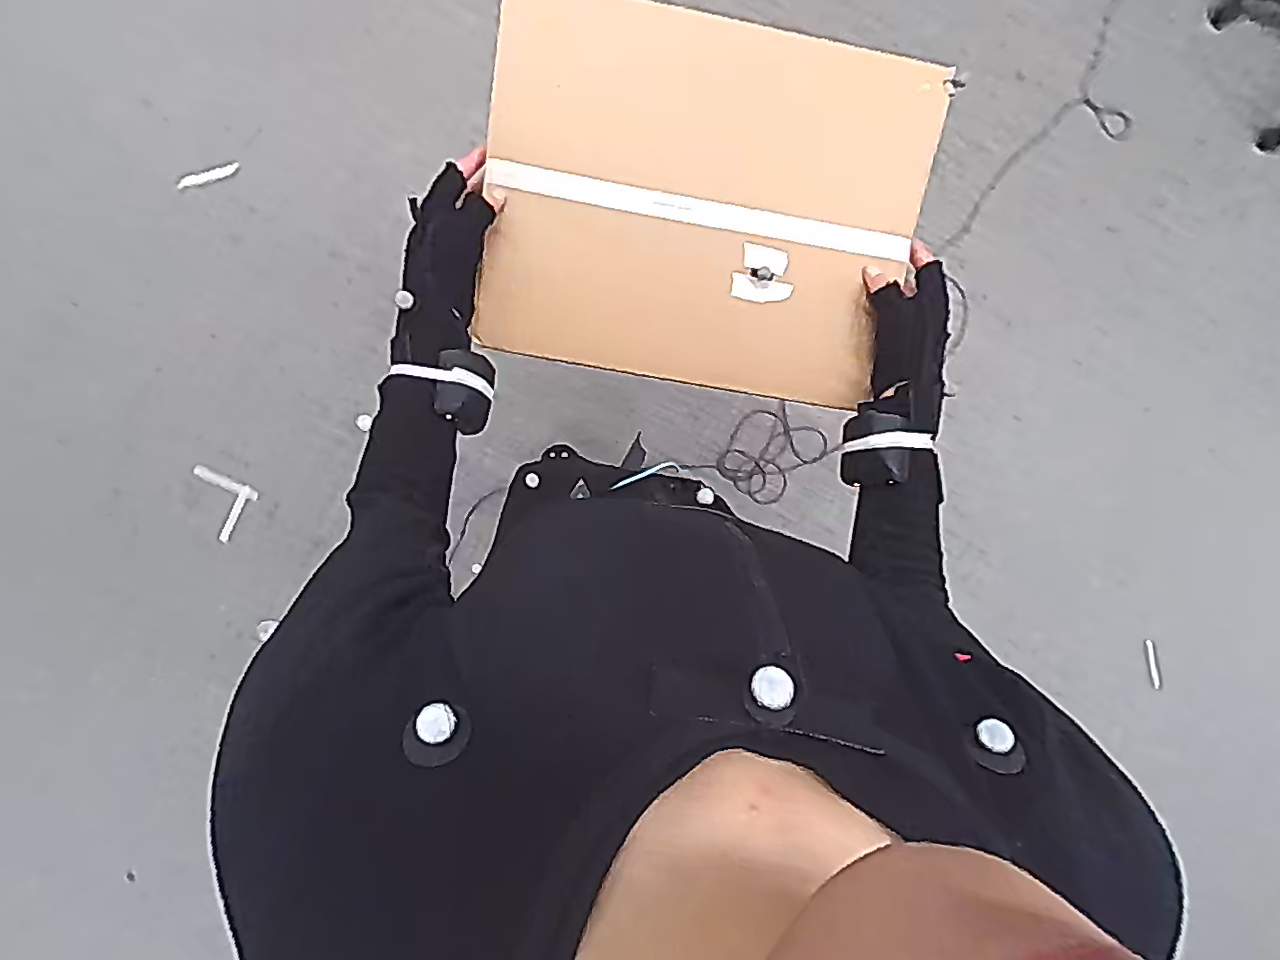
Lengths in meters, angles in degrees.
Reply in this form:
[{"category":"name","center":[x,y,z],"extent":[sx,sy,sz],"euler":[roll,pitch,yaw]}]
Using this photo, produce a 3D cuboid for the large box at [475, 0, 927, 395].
[{"category":"large box","center":[0.042,-0.295,0.663],"extent":[0.408,0.320,0.320],"euler":[8,104,-5]}]
